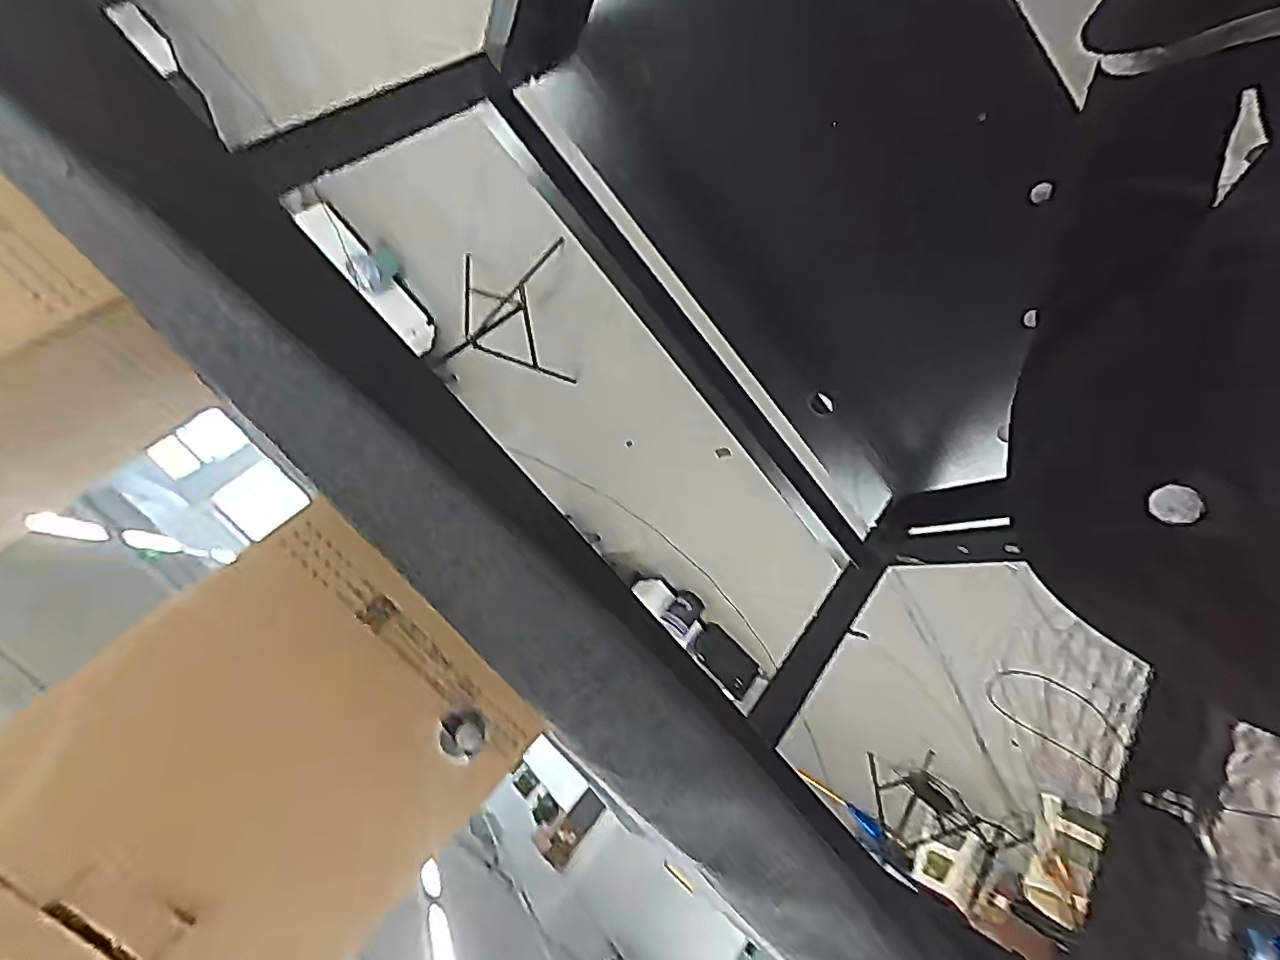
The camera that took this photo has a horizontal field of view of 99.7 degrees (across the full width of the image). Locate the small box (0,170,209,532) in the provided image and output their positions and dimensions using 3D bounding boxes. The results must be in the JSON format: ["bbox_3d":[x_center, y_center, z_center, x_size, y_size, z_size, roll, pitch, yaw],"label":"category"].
[{"bbox_3d":[-0.366,-0.074,0.265,0.168,0.176,0.179,49,156,-11],"label":"small box"}]

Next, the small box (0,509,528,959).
[{"bbox_3d":[-0.188,0.131,0.311,0.168,0.176,0.179,49,157,-10],"label":"small box"}]
